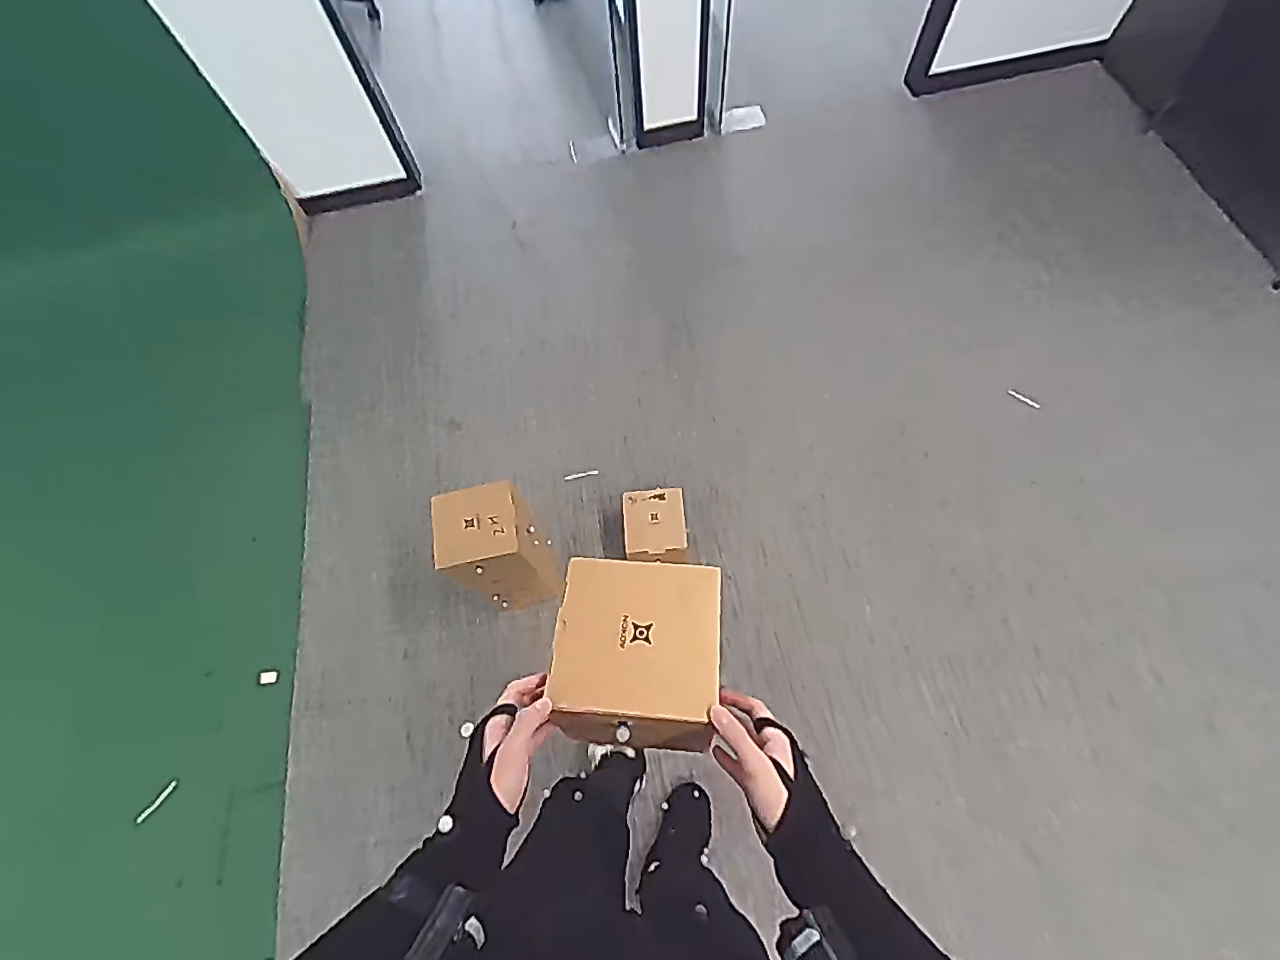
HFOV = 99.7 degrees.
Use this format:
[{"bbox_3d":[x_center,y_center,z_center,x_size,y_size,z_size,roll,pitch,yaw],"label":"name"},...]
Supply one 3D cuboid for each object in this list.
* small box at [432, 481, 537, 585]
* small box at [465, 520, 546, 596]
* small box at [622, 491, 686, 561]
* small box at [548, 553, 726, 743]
[{"bbox_3d":[-0.340,0.124,1.198,0.179,0.176,0.168,-12,66,-3],"label":"small box"},{"bbox_3d":[-0.339,0.183,1.353,0.168,0.176,0.179,-13,65,-3],"label":"small box"},{"bbox_3d":[0.041,0.145,1.525,0.168,0.176,0.179,-4,67,1],"label":"small box"},{"bbox_3d":[0.006,0.203,0.640,0.179,0.176,0.168,2,54,6],"label":"small box"}]
